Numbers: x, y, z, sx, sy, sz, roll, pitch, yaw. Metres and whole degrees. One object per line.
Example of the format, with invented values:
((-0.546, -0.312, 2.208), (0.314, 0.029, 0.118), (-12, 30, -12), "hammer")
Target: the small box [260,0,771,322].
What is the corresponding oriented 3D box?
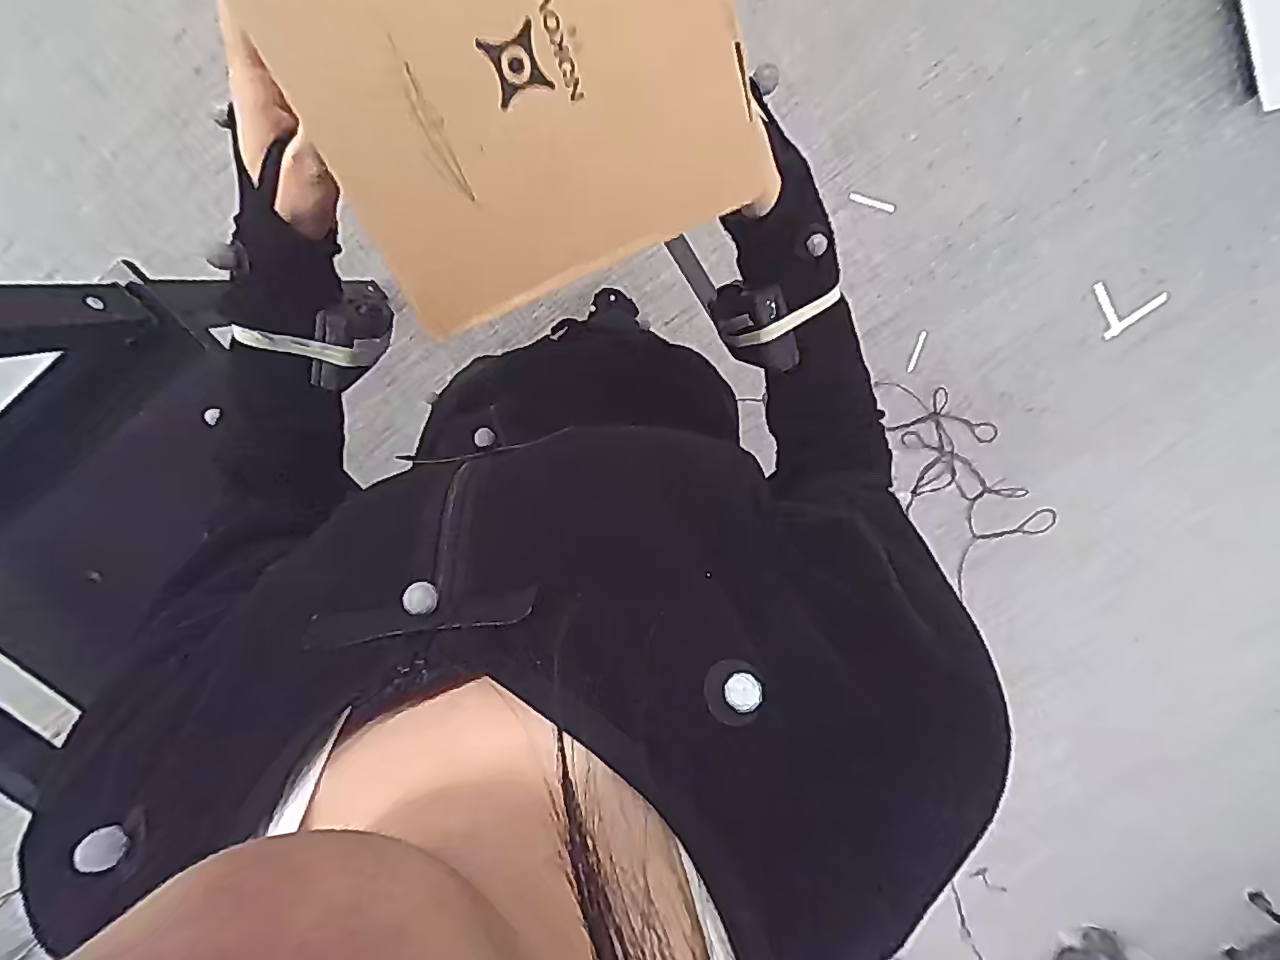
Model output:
((-0.061, -0.207, 0.277), (0.179, 0.176, 0.168), (-24, 122, -3), "small box")
